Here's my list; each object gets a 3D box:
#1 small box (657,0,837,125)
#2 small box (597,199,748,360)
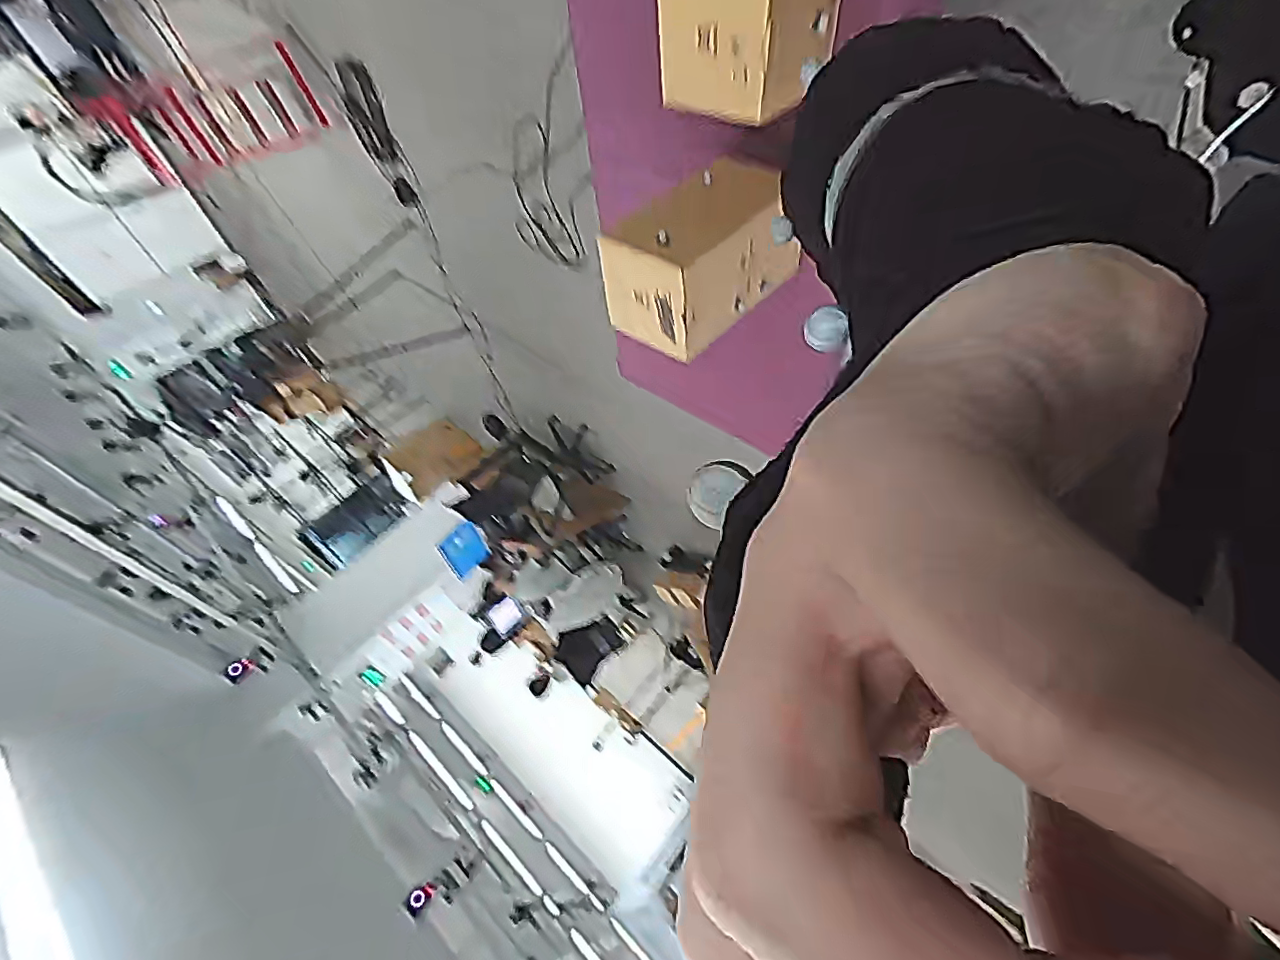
[{"bbox_3d":[0.142,-0.613,0.726,0.179,0.176,0.168,33,153,27],"label":"small box"},{"bbox_3d":[0.059,-0.333,0.886,0.179,0.176,0.168,33,152,28],"label":"small box"}]
